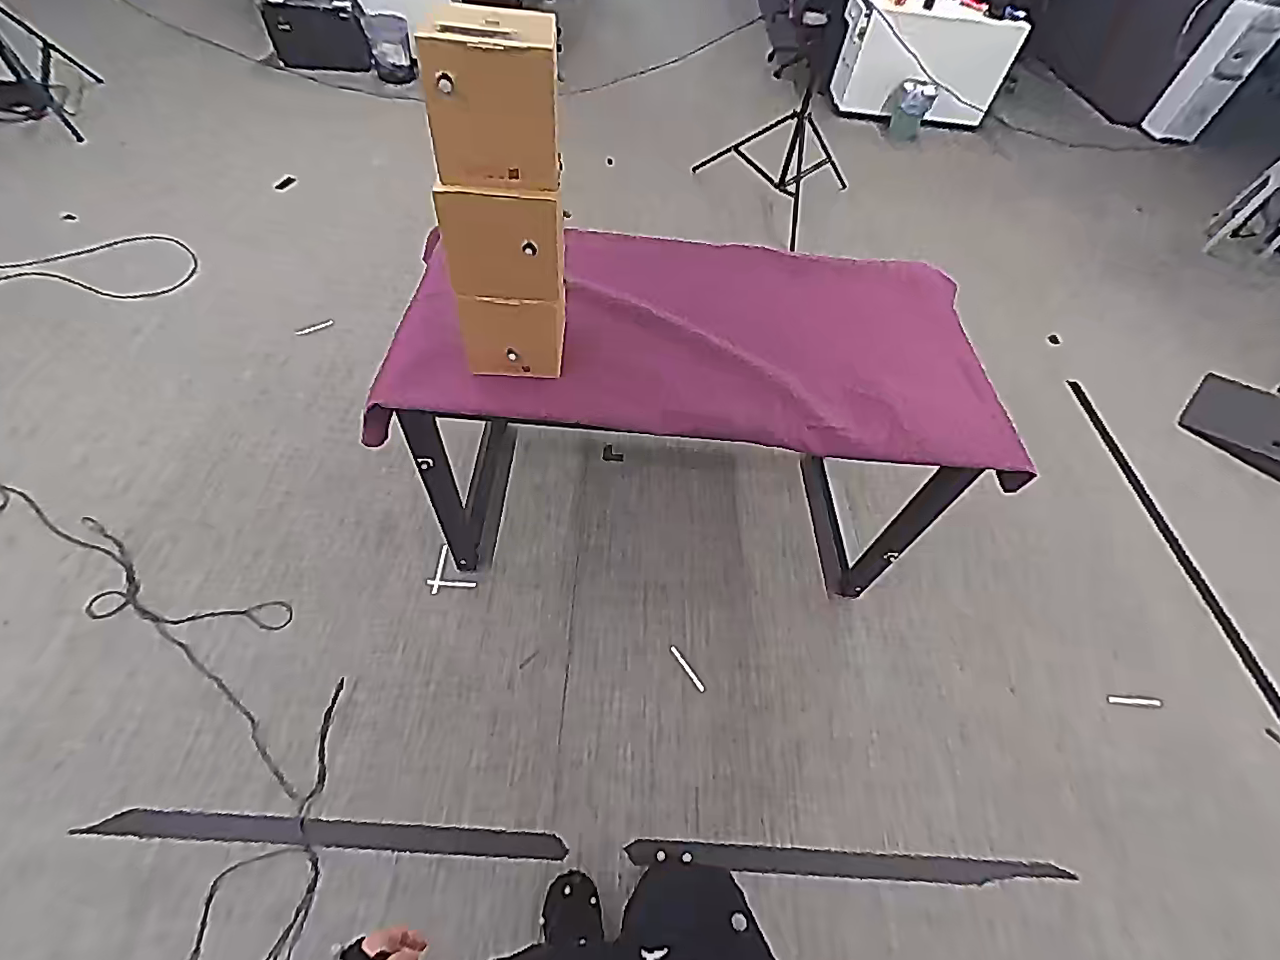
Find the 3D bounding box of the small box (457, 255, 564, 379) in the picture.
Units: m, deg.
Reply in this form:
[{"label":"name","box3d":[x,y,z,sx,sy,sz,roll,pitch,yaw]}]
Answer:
[{"label":"small box","box3d":[-0.230,-0.312,1.007,0.168,0.176,0.179,2,54,-5]}]

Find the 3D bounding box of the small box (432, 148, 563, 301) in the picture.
[{"label":"small box","box3d":[-0.216,-0.409,0.878,0.179,0.176,0.168,1,52,-5]}]
